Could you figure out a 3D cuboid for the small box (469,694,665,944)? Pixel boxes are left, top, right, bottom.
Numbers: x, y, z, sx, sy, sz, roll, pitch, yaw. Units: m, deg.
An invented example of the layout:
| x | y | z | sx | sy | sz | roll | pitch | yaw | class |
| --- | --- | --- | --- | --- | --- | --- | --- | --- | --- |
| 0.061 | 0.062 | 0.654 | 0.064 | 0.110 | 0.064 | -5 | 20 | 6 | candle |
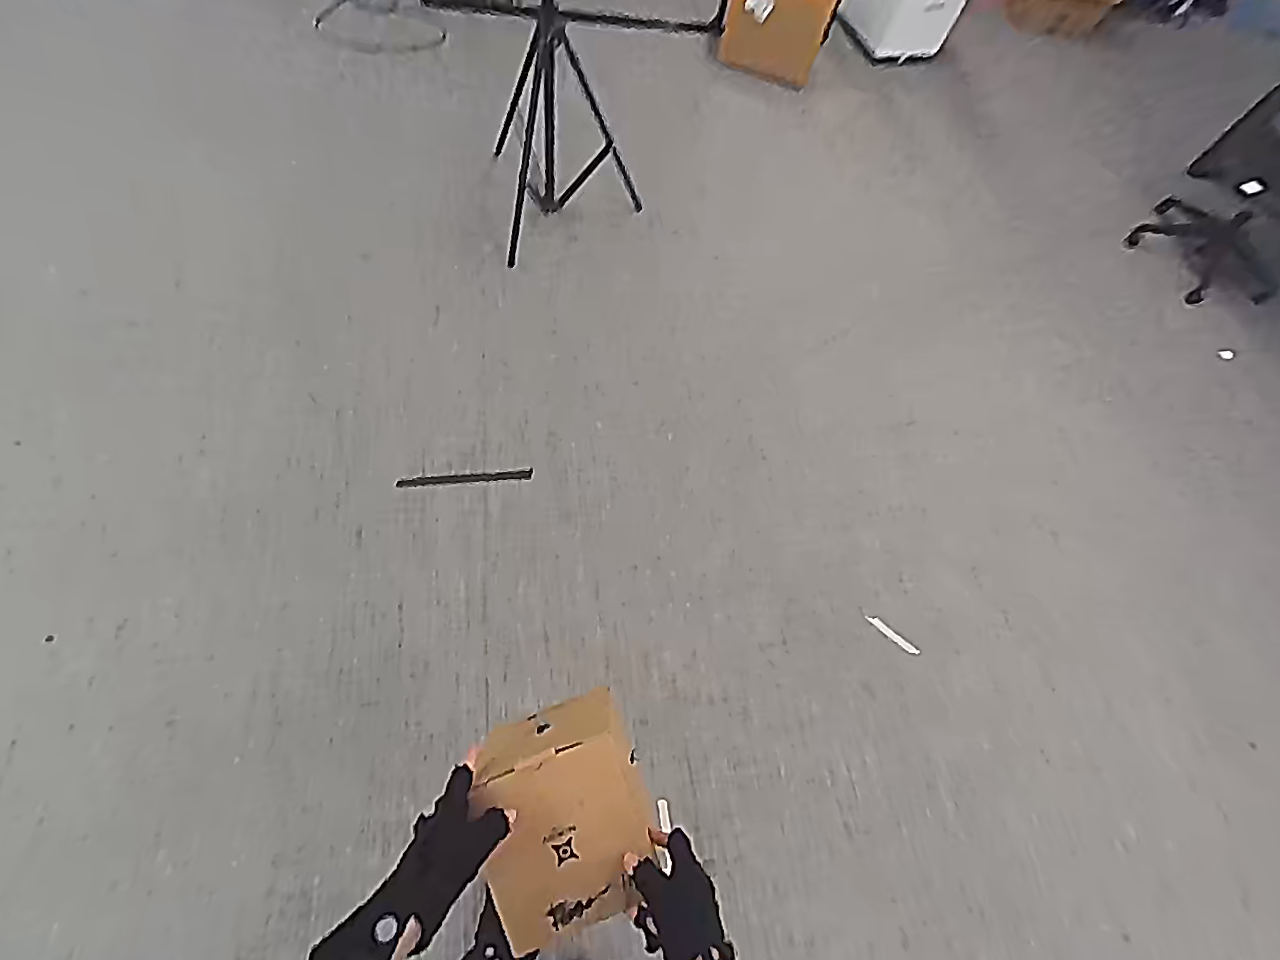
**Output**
| x | y | z | sx | sy | sz | roll | pitch | yaw | class |
| --- | --- | --- | --- | --- | --- | --- | --- | --- | --- |
| -0.083 | 0.373 | 0.640 | 0.168 | 0.176 | 0.179 | -19 | 85 | -6 | small box |
